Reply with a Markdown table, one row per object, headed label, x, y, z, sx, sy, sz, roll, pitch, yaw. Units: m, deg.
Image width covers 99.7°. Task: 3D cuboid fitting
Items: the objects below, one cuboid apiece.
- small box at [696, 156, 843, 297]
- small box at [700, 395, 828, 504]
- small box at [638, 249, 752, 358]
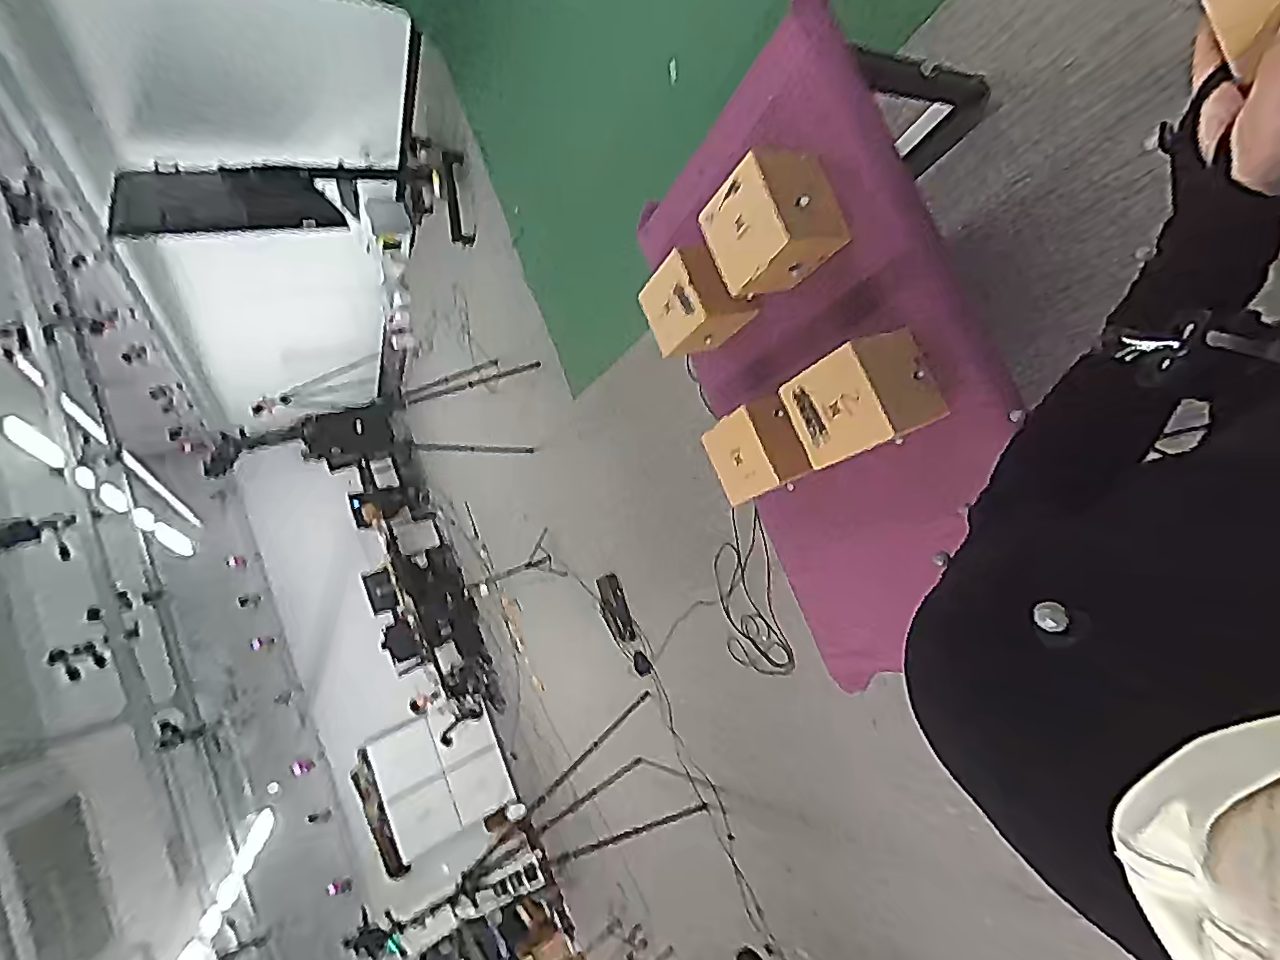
| label | x | y | z | sx | sy | sz | roll | pitch | yaw |
| --- | --- | --- | --- | --- | --- | --- | --- | --- | --- |
| small box | 0.240 | -0.468 | 1.000 | 0.168 | 0.176 | 0.179 | -30 | 81 | 59 |
| small box | 0.268 | -0.071 | 1.171 | 0.168 | 0.176 | 0.179 | -36 | 76 | 58 |
| small box | 0.128 | -0.399 | 1.213 | 0.179 | 0.176 | 0.168 | -33 | 78 | 59 |
